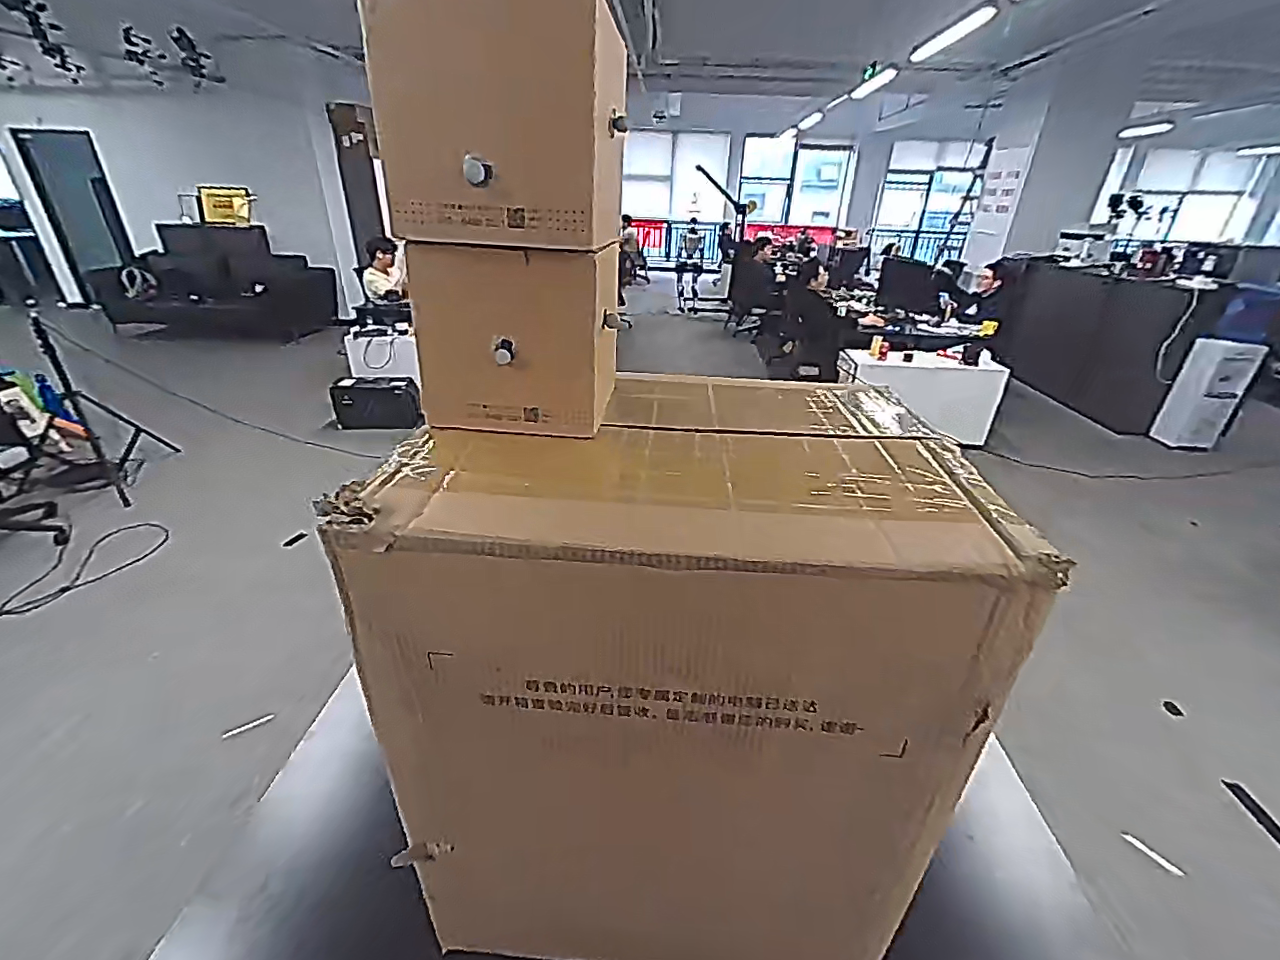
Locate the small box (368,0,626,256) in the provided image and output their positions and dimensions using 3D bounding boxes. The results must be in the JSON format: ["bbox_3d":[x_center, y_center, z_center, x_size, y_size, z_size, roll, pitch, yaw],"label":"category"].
[{"bbox_3d":[-0.105,-0.296,0.468,0.168,0.176,0.179,4,27,3],"label":"small box"}]

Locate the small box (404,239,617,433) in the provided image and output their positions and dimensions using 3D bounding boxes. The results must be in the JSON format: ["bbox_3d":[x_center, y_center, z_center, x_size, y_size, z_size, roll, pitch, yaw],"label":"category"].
[{"bbox_3d":[-0.114,-0.157,0.558,0.168,0.176,0.179,4,27,2],"label":"small box"}]
